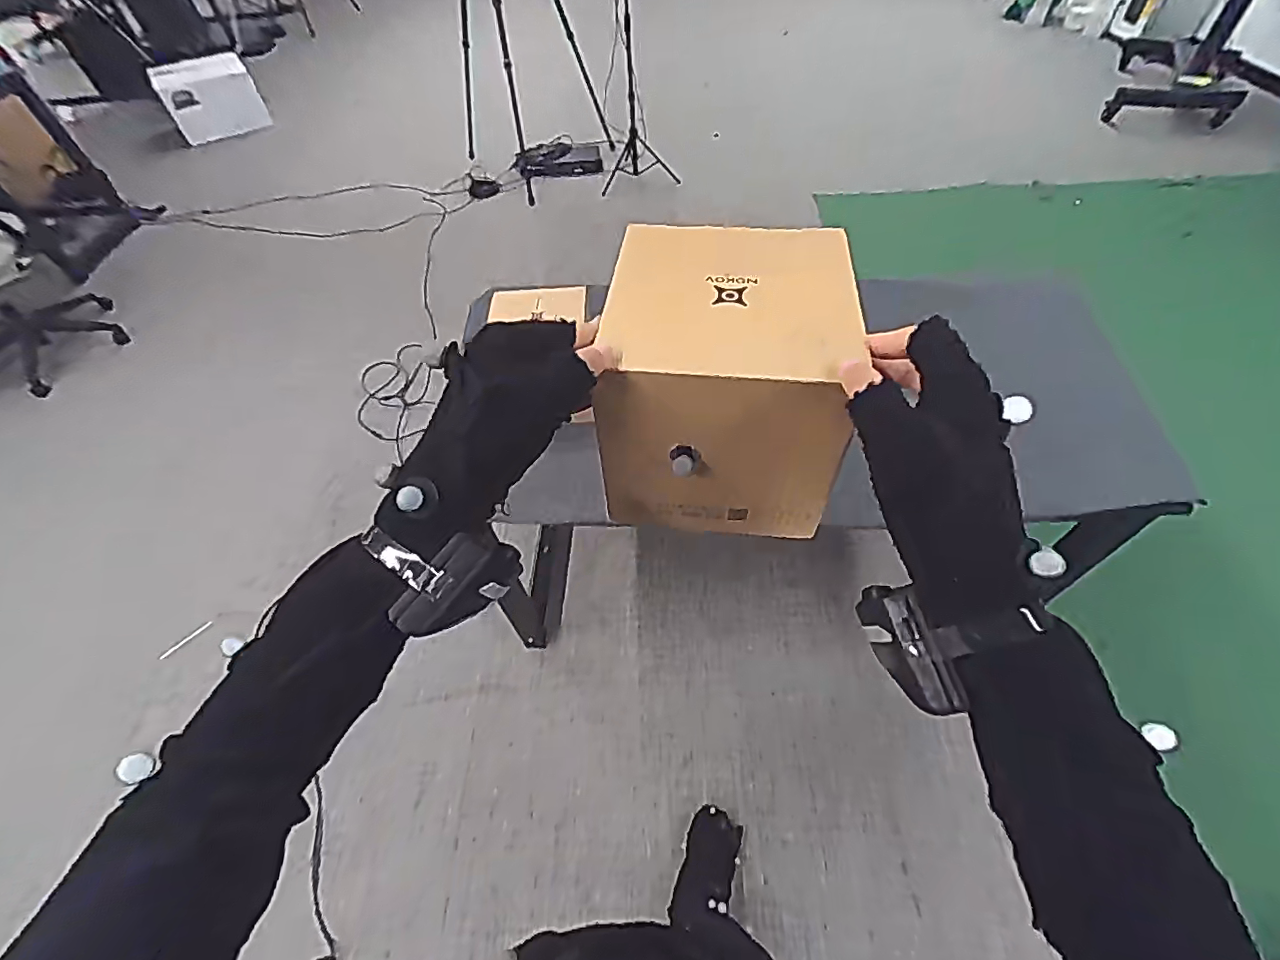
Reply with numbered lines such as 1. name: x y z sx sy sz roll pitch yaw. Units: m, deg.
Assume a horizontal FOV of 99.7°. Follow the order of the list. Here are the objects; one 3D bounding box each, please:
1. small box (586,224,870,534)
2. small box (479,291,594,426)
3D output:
1. small box: 0.063 -0.075 0.421 0.168 0.176 0.179 4 51 6
2. small box: -0.171 -0.209 0.960 0.168 0.176 0.179 -3 51 1
